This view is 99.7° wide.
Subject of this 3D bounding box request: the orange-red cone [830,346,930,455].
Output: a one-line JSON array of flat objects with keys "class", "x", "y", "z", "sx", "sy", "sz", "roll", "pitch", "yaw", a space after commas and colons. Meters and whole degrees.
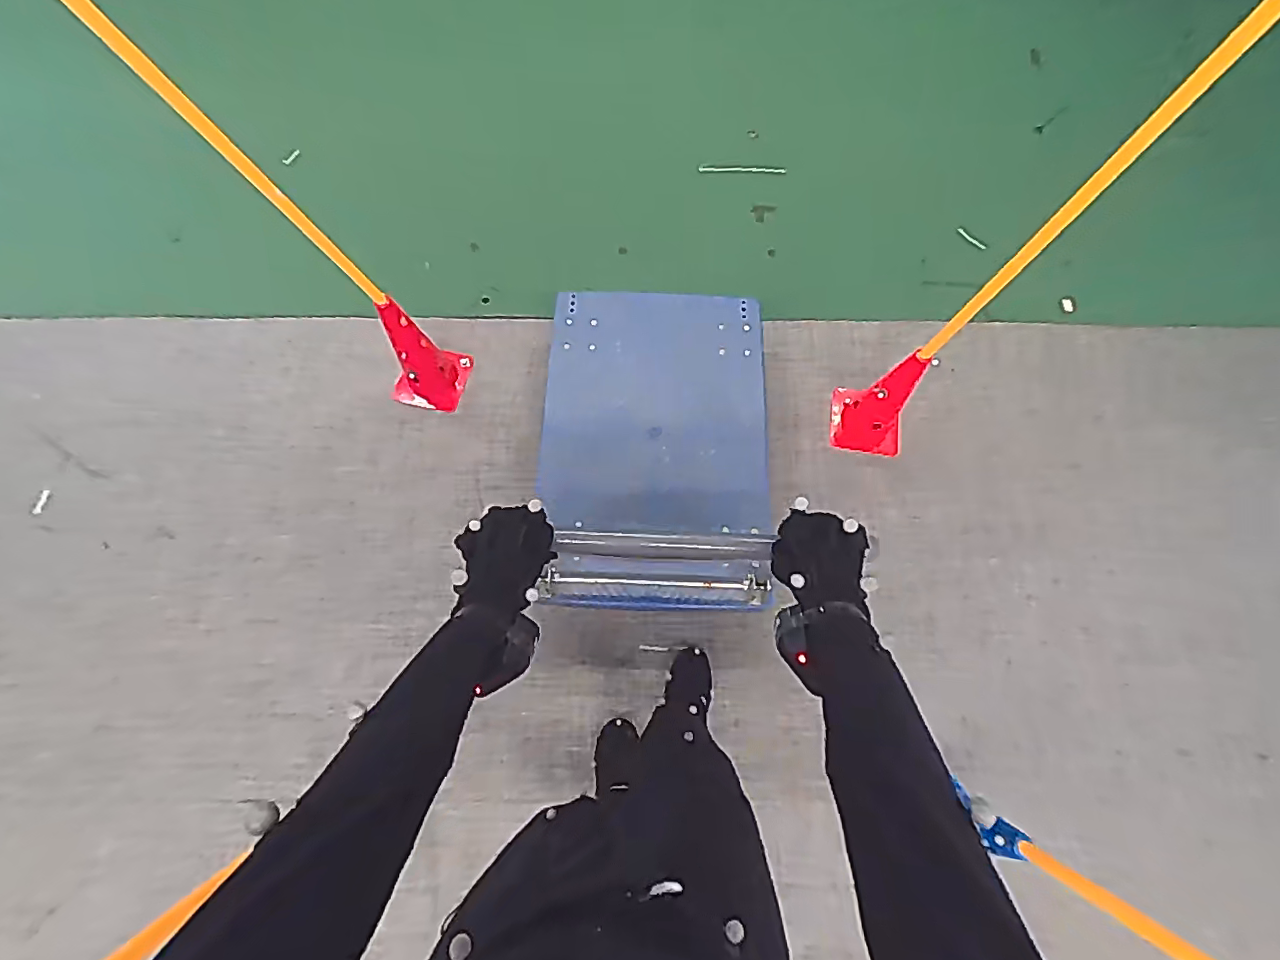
[{"class": "orange-red cone", "x": 0.661, "y": -0.234, "z": 1.423, "sx": 0.198, "sy": 0.360, "sz": 0.199, "roll": 10, "pitch": 71, "yaw": 4}]
